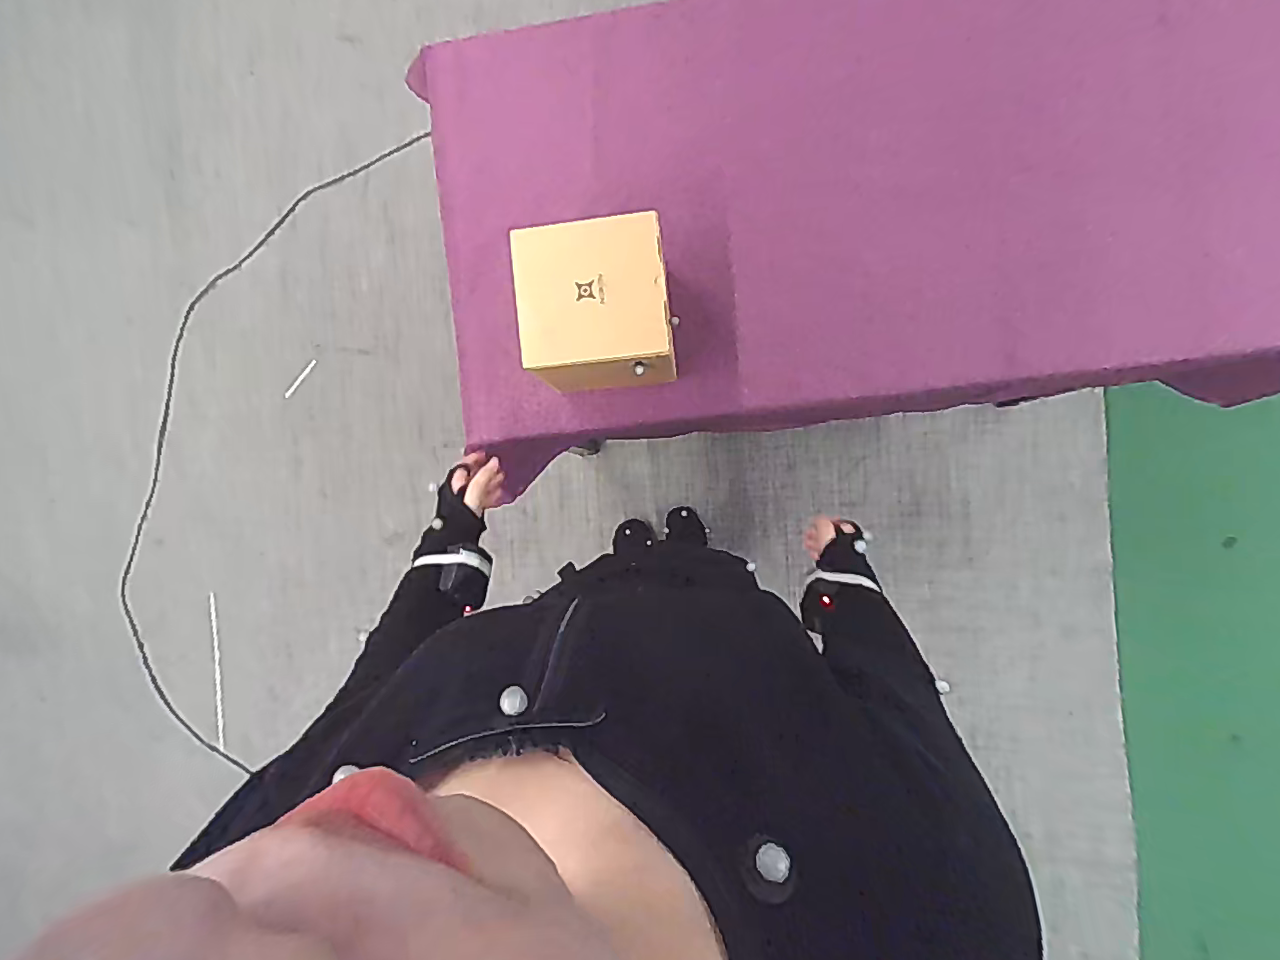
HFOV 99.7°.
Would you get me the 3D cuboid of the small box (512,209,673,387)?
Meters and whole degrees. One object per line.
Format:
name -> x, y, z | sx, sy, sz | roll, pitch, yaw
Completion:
small box -> -0.051, -0.222, 0.705 | 0.179, 0.176, 0.168 | -6, 89, 4
